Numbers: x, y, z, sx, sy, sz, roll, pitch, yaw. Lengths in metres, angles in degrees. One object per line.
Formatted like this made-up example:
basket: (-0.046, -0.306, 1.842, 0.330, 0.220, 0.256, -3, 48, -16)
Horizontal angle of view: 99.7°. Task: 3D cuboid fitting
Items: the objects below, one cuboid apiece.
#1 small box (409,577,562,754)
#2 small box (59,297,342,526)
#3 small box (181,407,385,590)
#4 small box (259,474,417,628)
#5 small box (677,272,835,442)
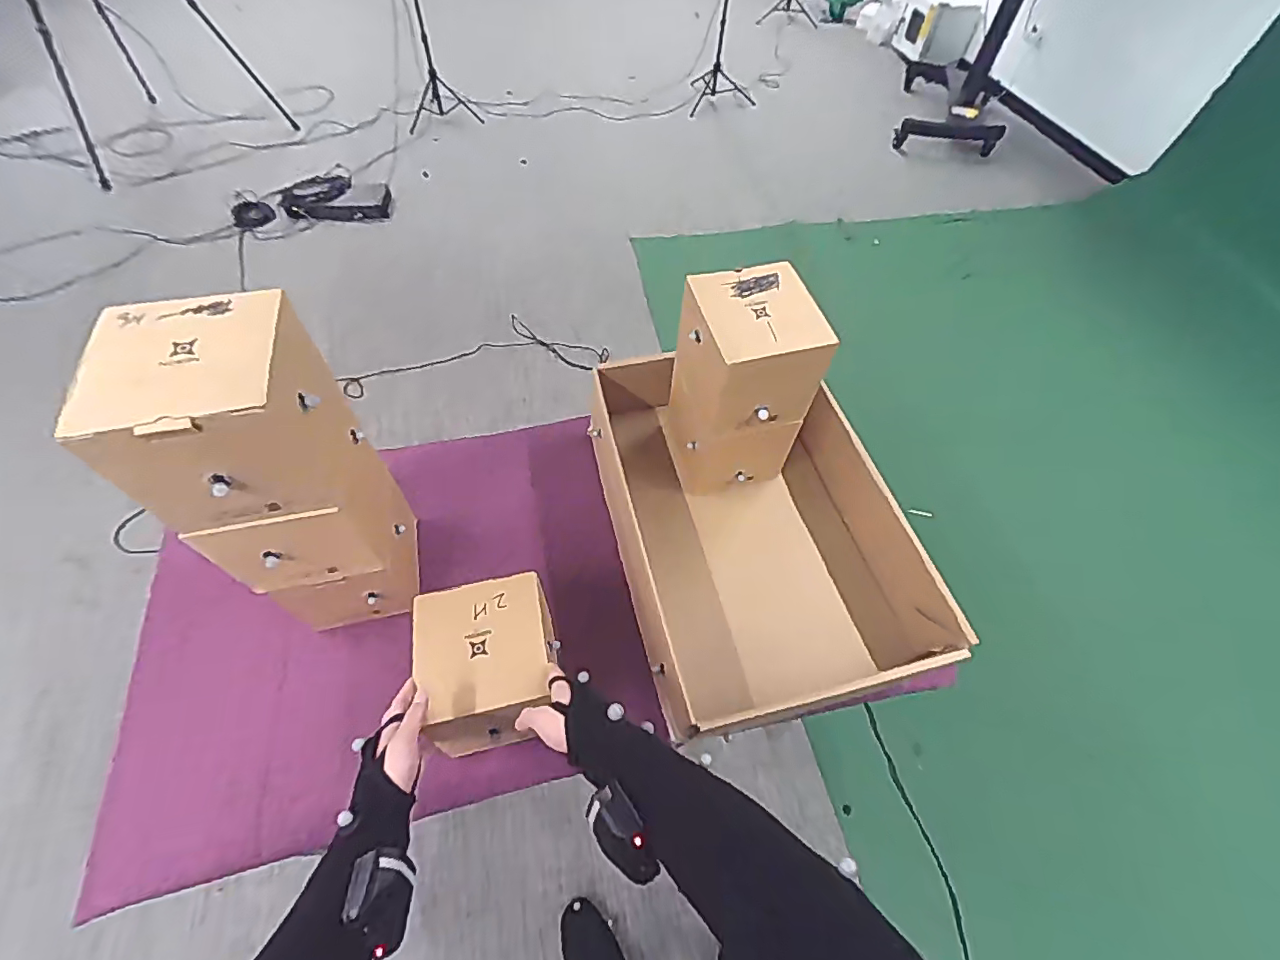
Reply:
small box: (-0.207, 0.263, 0.750, 0.168, 0.176, 0.179, -10, 52, -8)
small box: (-0.439, -0.065, 0.580, 0.168, 0.176, 0.179, -11, 58, -12)
small box: (-0.447, 0.031, 0.713, 0.168, 0.176, 0.179, -10, 57, -11)
small box: (-0.456, 0.118, 0.848, 0.168, 0.176, 0.179, -10, 57, -11)
small box: (0.161, -0.185, 0.824, 0.168, 0.176, 0.179, -13, 59, -10)
